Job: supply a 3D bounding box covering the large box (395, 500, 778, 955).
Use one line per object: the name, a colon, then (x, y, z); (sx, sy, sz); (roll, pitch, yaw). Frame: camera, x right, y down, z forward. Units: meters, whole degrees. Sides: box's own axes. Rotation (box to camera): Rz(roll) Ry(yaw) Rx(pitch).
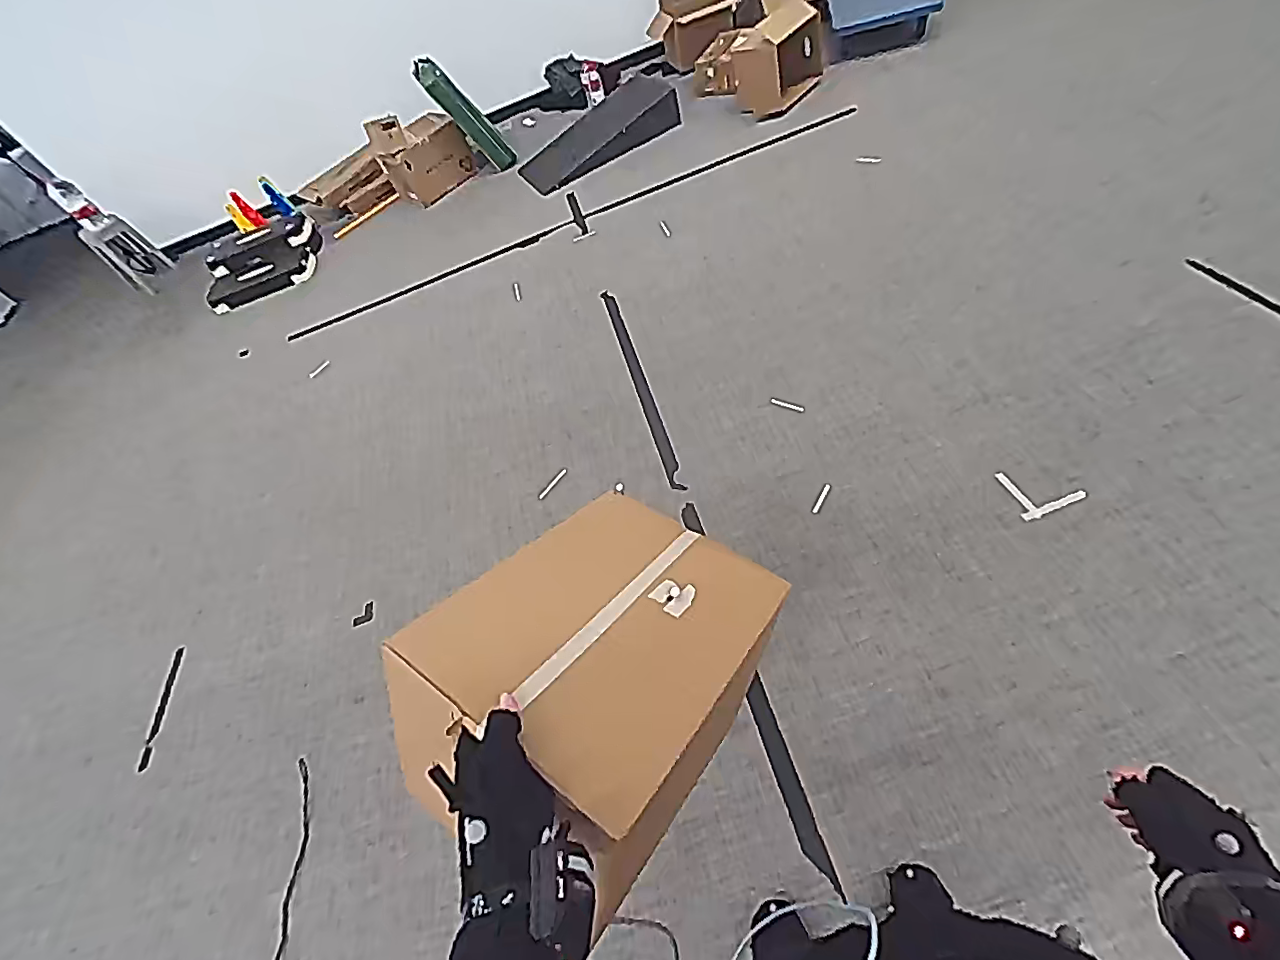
large box: (-0.059, 0.292, 0.744); (0.320, 0.320, 0.408); (28, 36, 23)
